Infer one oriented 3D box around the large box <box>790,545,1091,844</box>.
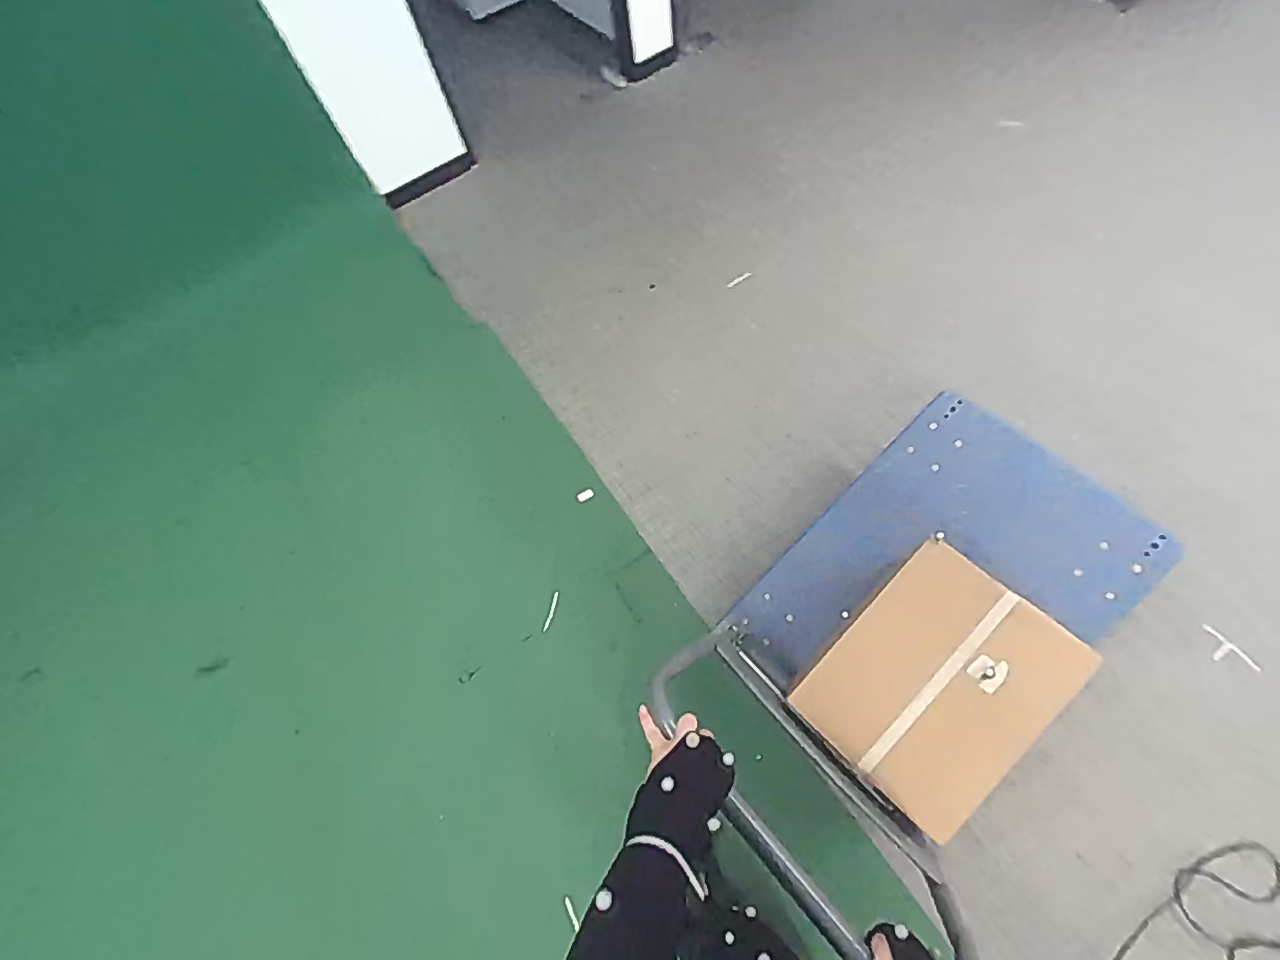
[{"bbox_3d":[0.549,0.399,1.078,0.320,0.320,0.408,42,89,22],"label":"large box"}]
